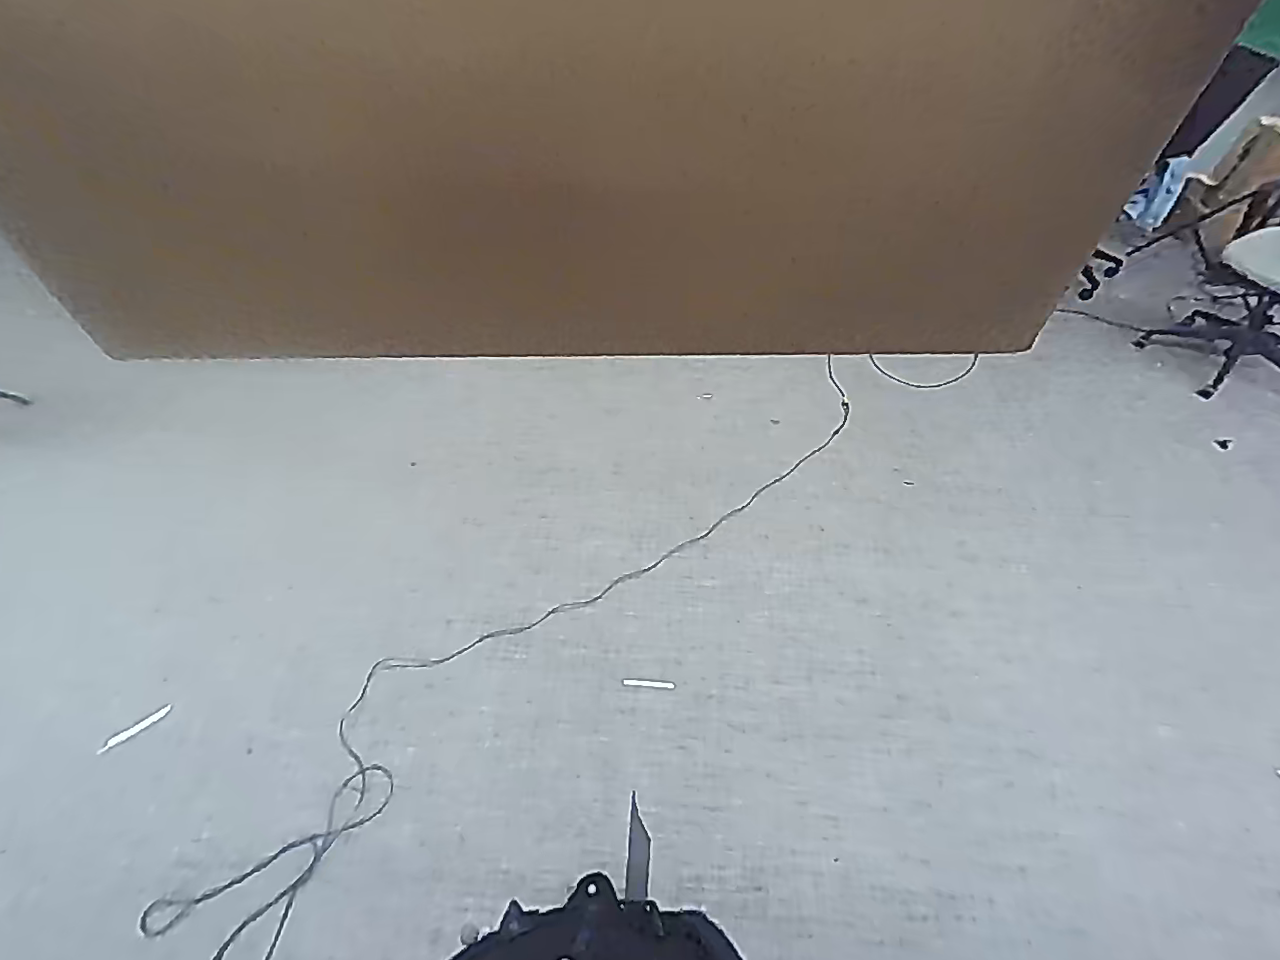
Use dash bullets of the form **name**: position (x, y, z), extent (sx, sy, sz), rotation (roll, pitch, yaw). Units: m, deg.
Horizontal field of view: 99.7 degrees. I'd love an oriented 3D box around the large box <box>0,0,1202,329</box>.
- **large box**: position (-0.027, -0.277, 0.231), extent (0.408, 0.320, 0.320), rotation (0, 50, -3)
